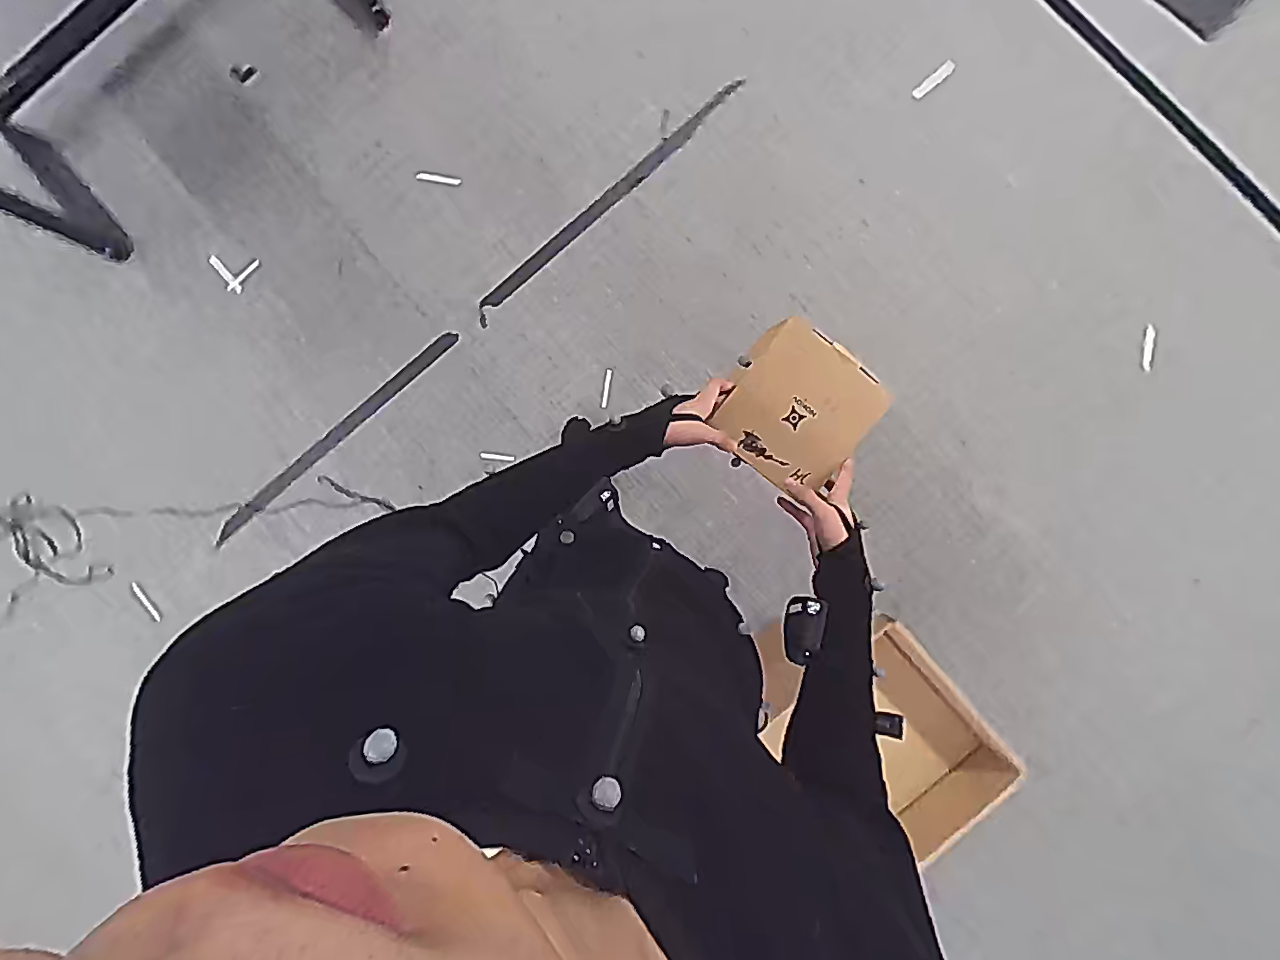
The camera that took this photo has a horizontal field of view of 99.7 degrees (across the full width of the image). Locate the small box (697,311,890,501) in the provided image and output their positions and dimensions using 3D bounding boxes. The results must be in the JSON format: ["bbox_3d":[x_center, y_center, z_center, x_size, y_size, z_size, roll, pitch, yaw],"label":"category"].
[{"bbox_3d":[0.191,-0.101,0.739,0.168,0.176,0.179,37,98,-4],"label":"small box"}]
